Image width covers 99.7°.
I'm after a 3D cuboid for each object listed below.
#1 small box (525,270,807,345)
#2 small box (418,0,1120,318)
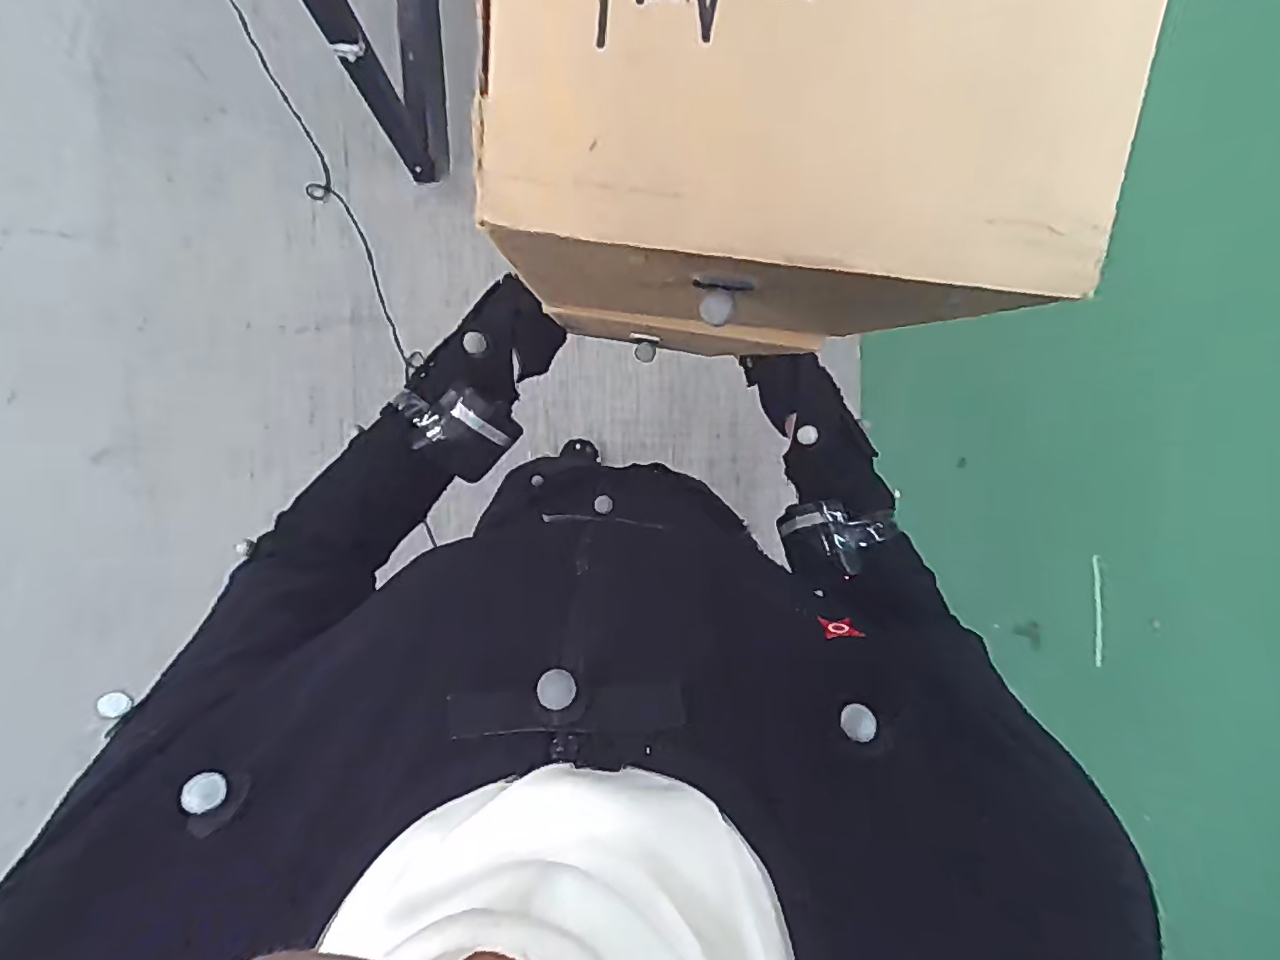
[{"bbox_3d":[0.024,-0.194,0.368,0.168,0.176,0.179,8,103,-5],"label":"small box"},{"bbox_3d":[0.034,-0.160,0.208,0.179,0.176,0.168,6,102,-5],"label":"small box"}]
